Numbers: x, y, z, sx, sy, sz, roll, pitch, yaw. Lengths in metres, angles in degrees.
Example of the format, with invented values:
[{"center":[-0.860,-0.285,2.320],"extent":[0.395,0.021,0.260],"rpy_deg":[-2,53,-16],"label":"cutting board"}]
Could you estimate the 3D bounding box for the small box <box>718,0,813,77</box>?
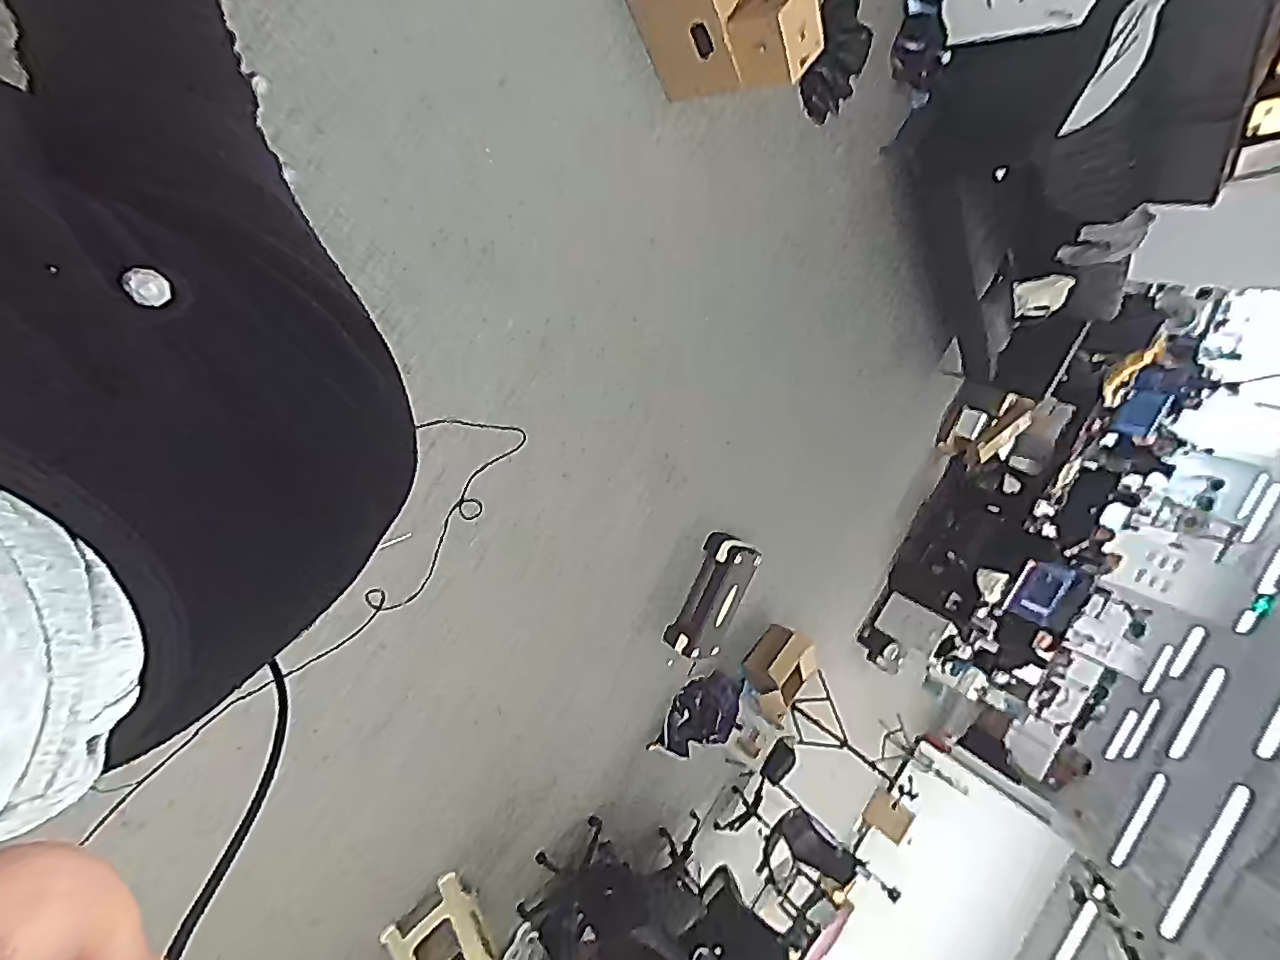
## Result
[{"center":[0.338,-1.241,1.469],"extent":[0.168,0.176,0.179],"rpy_deg":[-55,140,-10],"label":"small box"}]
